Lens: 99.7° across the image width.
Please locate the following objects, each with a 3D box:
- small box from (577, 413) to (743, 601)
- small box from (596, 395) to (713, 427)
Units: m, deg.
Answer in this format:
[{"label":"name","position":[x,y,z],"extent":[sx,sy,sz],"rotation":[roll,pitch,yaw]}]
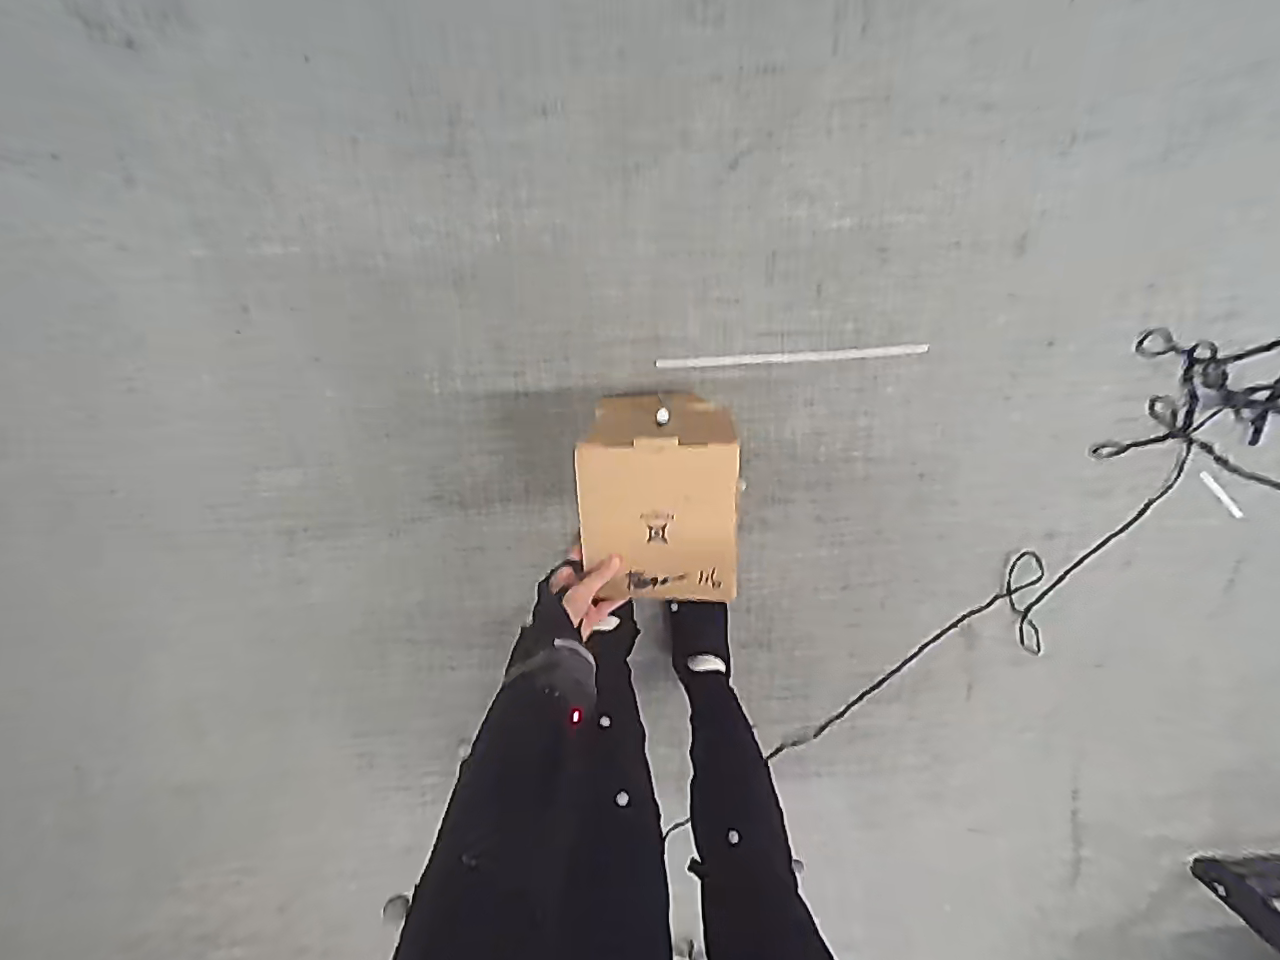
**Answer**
[{"label":"small box","position":[0.027,0.019,0.623],"extent":[0.168,0.176,0.179],"rotation":[0,108,7]},{"label":"small box","position":[0.020,-0.050,0.888],"extent":[0.179,0.176,0.168],"rotation":[-3,103,-2]}]
